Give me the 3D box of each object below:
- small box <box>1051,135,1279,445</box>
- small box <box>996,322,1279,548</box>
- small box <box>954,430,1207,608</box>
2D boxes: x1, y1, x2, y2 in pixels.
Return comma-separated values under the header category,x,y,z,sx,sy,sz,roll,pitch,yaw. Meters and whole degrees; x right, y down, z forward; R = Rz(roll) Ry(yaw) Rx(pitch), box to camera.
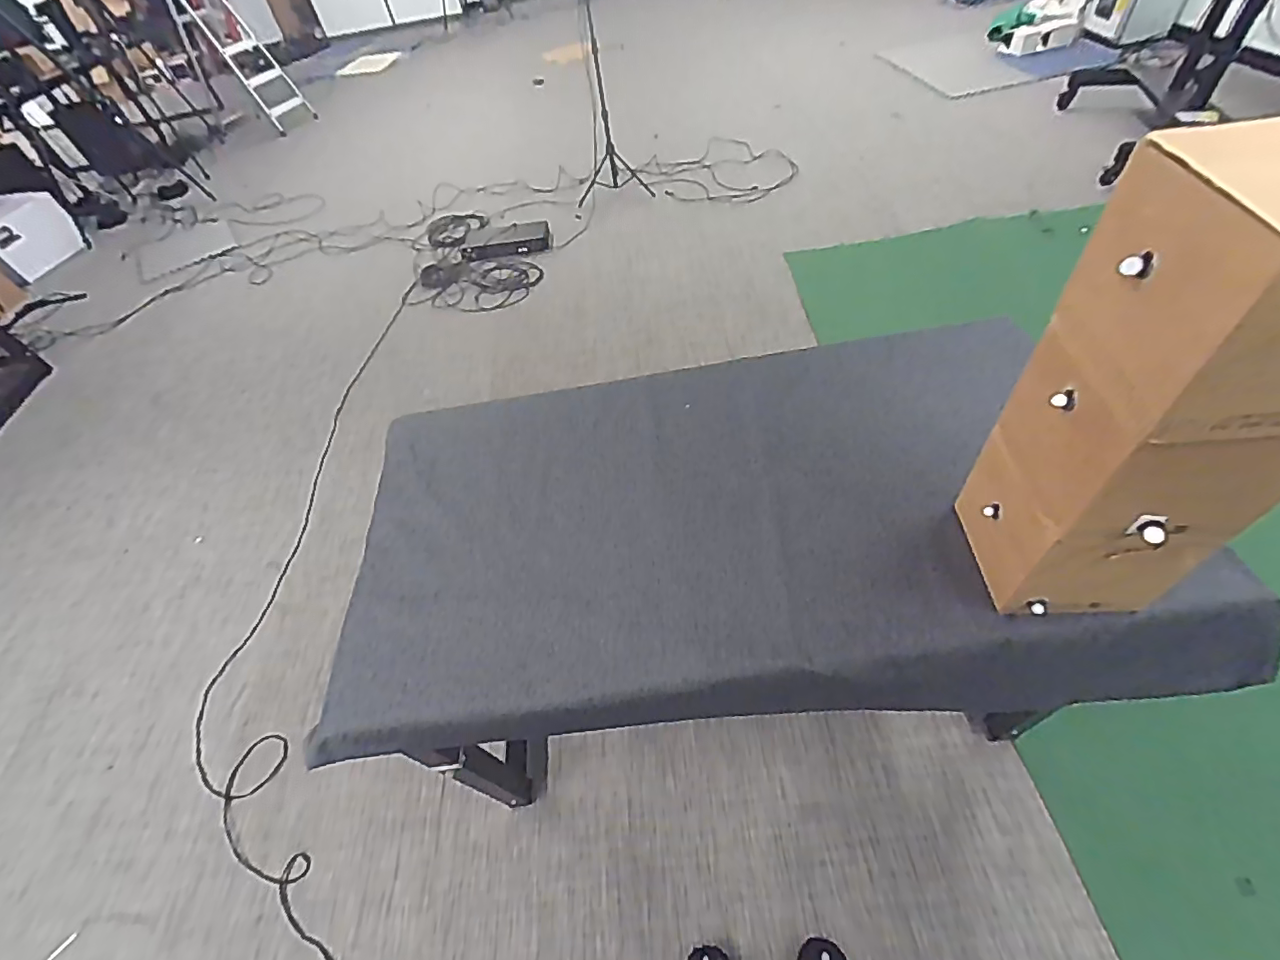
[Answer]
category,x,y,z,sx,sy,sz,roll,pitch,yaw
small box,0.475,-0.148,0.427,0.168,0.176,0.179,-3,50,9
small box,0.504,-0.048,0.554,0.168,0.176,0.179,-3,52,9
small box,0.528,0.050,0.679,0.168,0.176,0.179,-3,50,8
